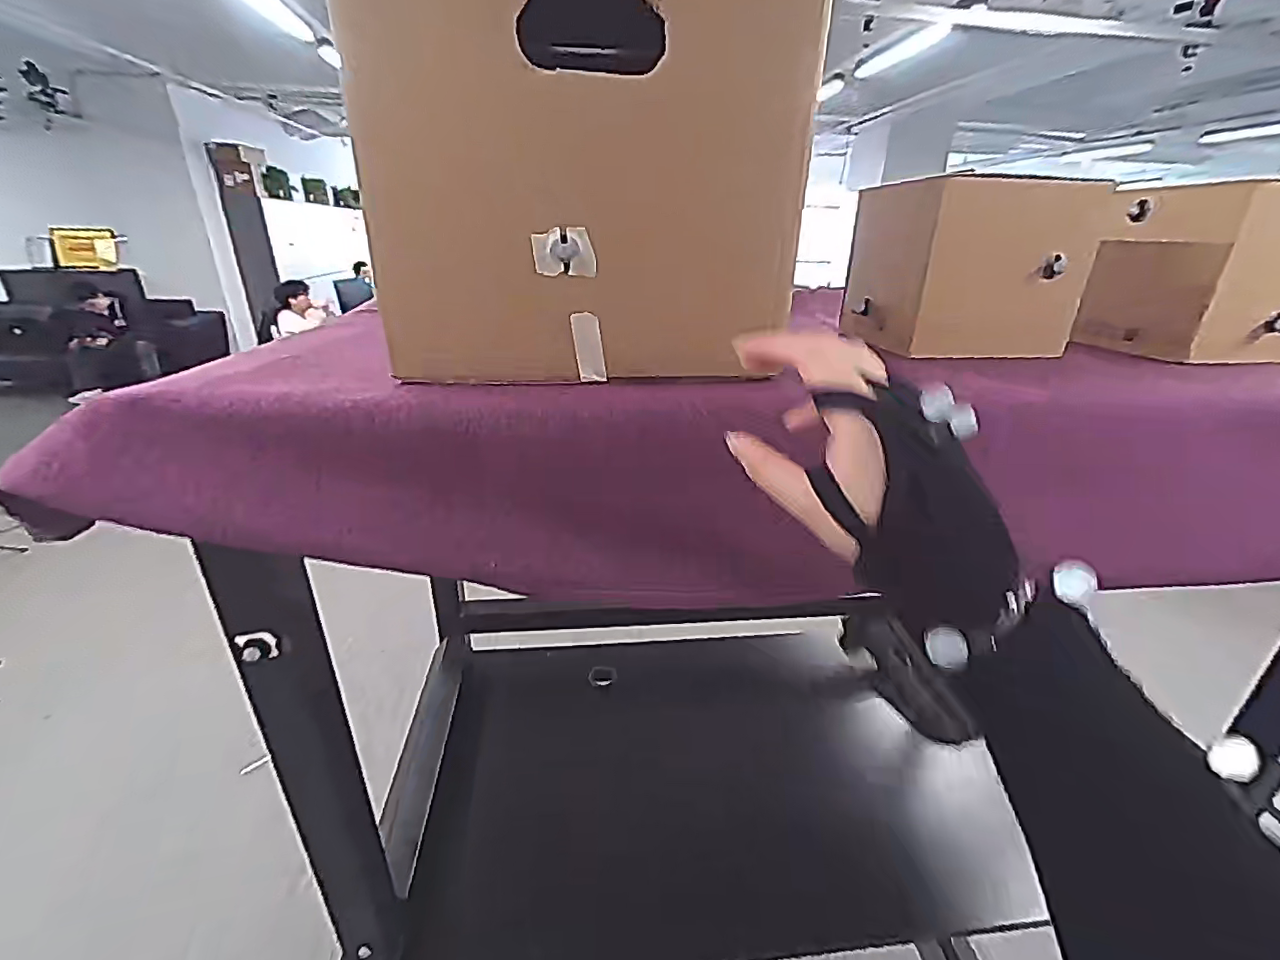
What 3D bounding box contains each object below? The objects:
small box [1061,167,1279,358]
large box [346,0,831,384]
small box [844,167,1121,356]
[{"bbox_3d":[0.618,-0.232,0.589,0.179,0.176,0.168,-2,23,-8],"label":"small box"},{"bbox_3d":[-0.052,-0.292,0.538,0.320,0.320,0.408,-1,23,-7],"label":"large box"},{"bbox_3d":[0.349,-0.235,0.592,0.179,0.176,0.168,-2,23,-6],"label":"small box"}]
